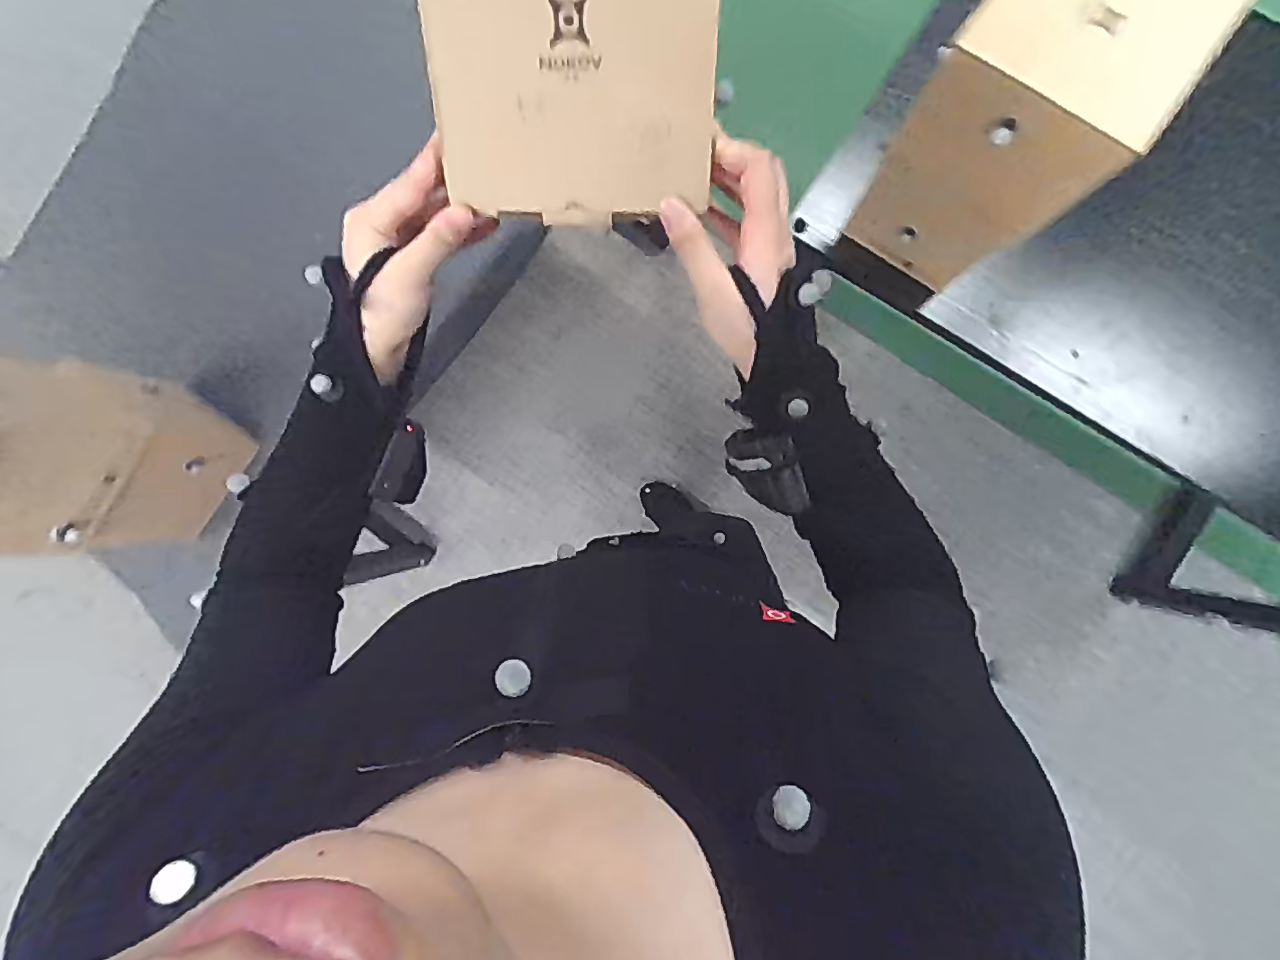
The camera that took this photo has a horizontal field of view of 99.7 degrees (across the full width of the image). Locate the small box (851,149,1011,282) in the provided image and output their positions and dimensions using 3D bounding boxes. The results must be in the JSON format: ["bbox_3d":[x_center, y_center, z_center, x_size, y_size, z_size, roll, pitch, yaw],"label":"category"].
[{"bbox_3d":[0.391,-0.382,0.674,0.168,0.176,0.179,34,90,4],"label":"small box"}]

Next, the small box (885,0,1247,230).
[{"bbox_3d":[0.375,-0.371,0.512,0.179,0.176,0.168,34,91,5],"label":"small box"}]

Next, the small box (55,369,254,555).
[{"bbox_3d":[-0.684,-0.019,0.741,0.168,0.176,0.179,34,91,7],"label":"small box"}]
